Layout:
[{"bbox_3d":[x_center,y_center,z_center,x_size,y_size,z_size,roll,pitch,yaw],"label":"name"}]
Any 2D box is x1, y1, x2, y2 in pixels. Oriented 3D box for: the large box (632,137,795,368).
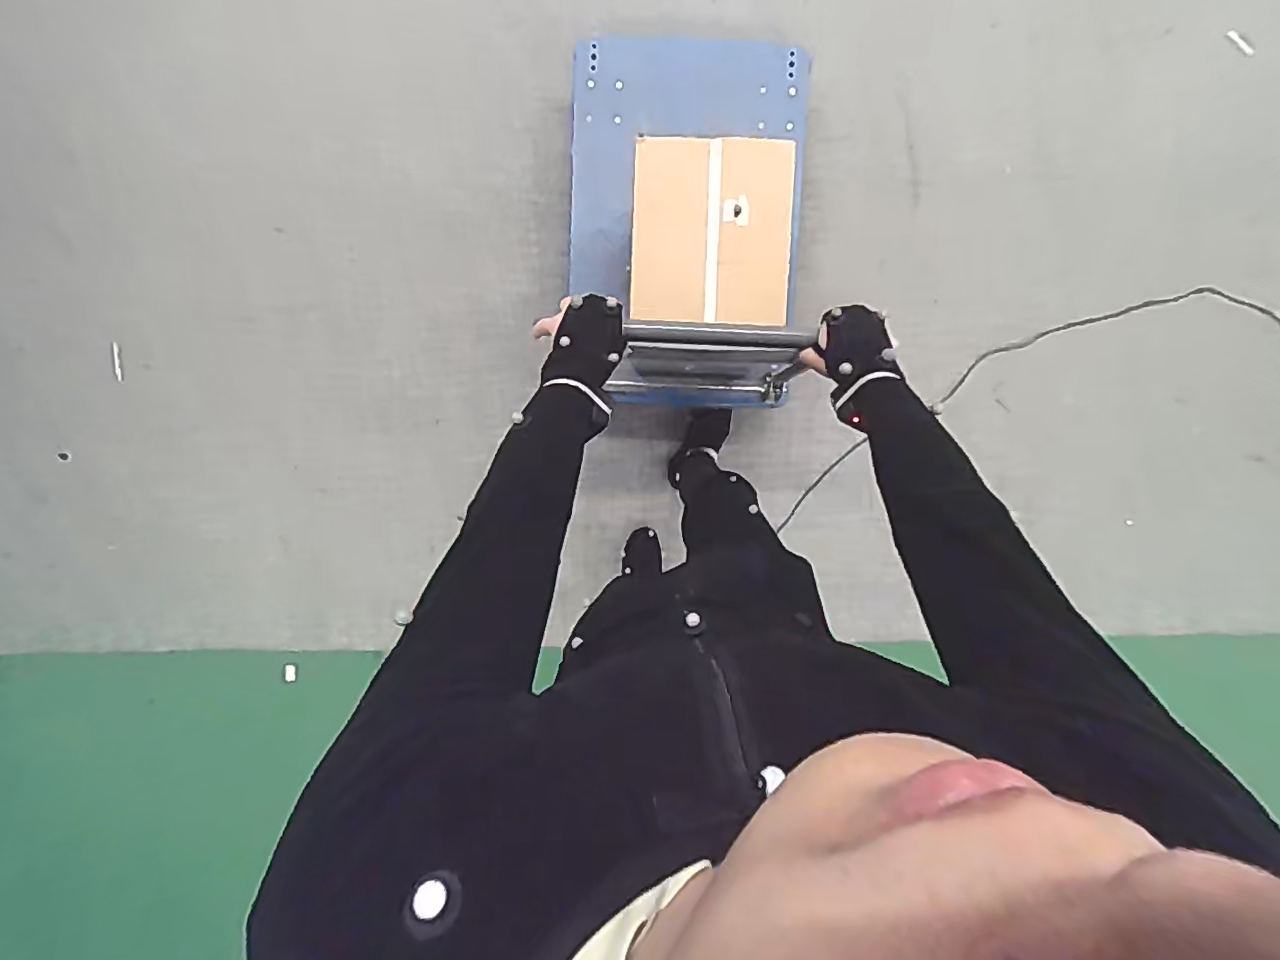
[{"bbox_3d":[0.145,-0.468,1.201,0.320,0.320,0.408,2,94,0],"label":"large box"}]
